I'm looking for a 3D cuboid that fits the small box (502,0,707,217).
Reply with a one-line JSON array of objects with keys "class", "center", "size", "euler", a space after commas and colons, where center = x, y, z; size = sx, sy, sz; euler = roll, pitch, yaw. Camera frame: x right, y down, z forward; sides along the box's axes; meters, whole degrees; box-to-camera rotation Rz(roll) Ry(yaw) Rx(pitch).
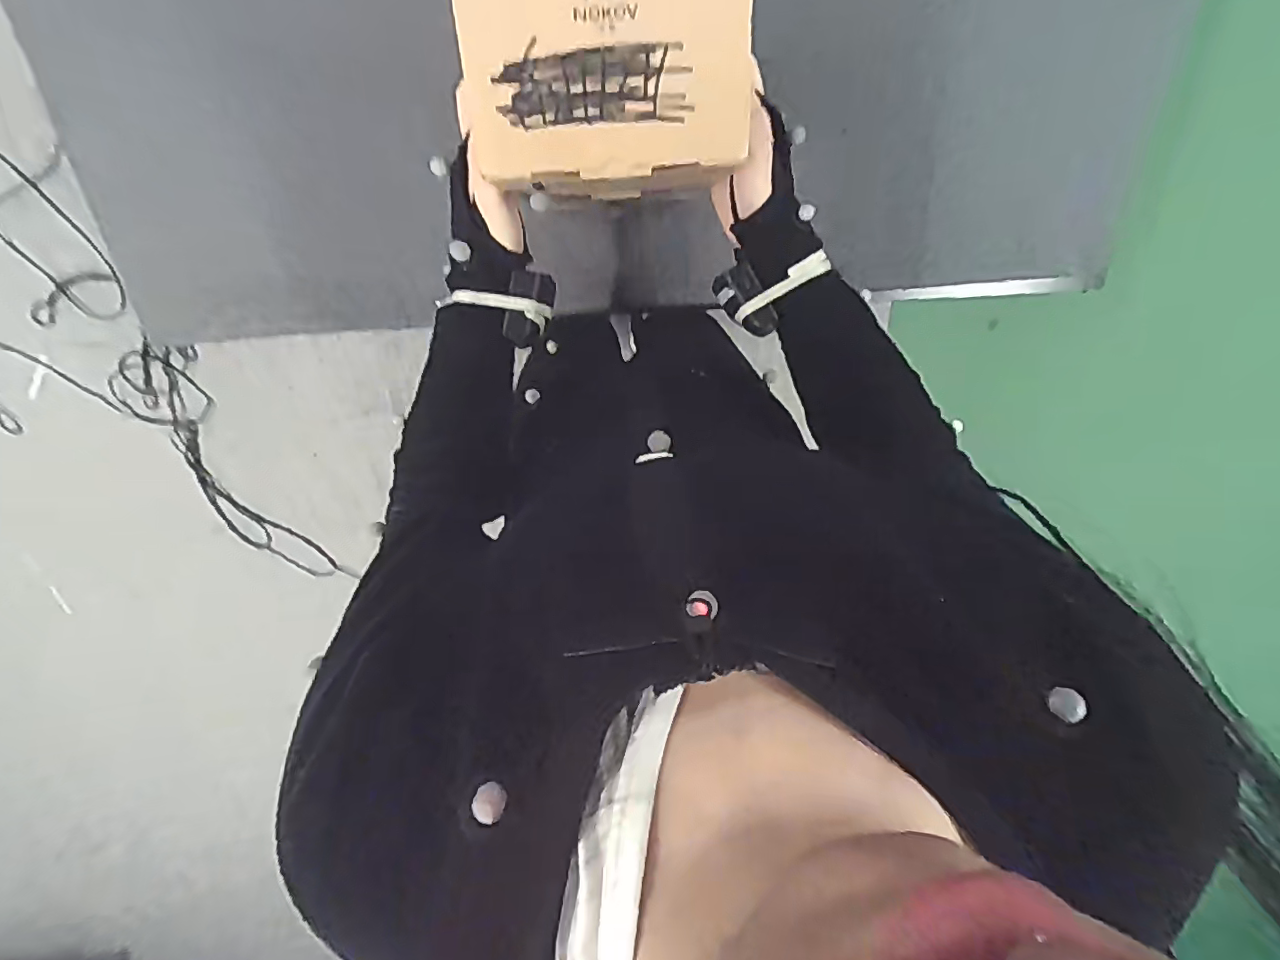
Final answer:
[{"class": "small box", "center": [-0.029, -0.361, 0.526], "size": [0.168, 0.176, 0.179], "euler": [-4, 114, 0]}]
